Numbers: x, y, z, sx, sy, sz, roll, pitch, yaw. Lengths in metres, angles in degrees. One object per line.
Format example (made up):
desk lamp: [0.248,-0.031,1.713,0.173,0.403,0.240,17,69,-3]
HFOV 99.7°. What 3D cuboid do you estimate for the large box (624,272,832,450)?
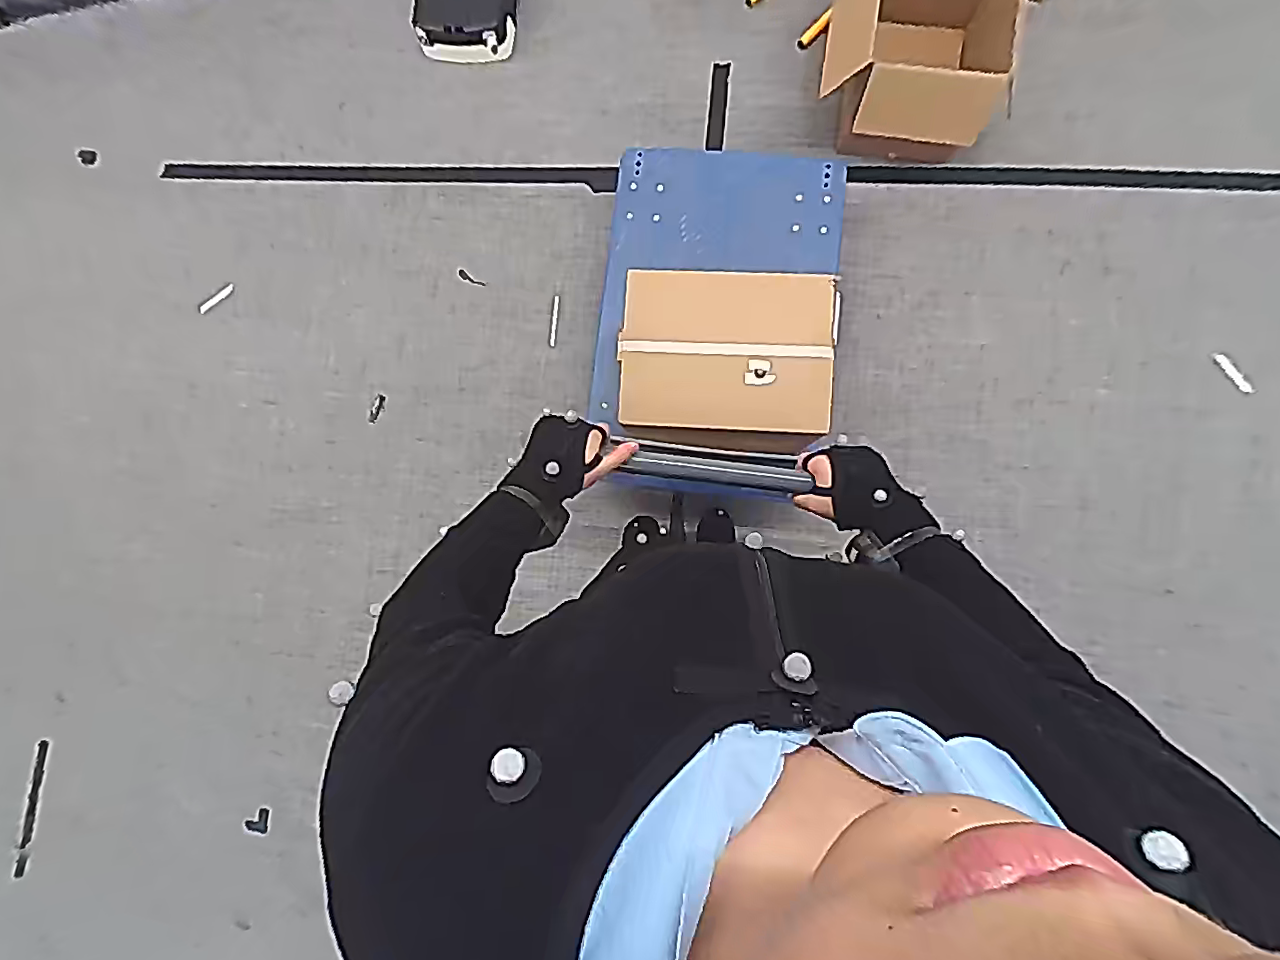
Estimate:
large box: [0.179,-0.244,1.207,0.408,0.320,0.320,3,86,4]
